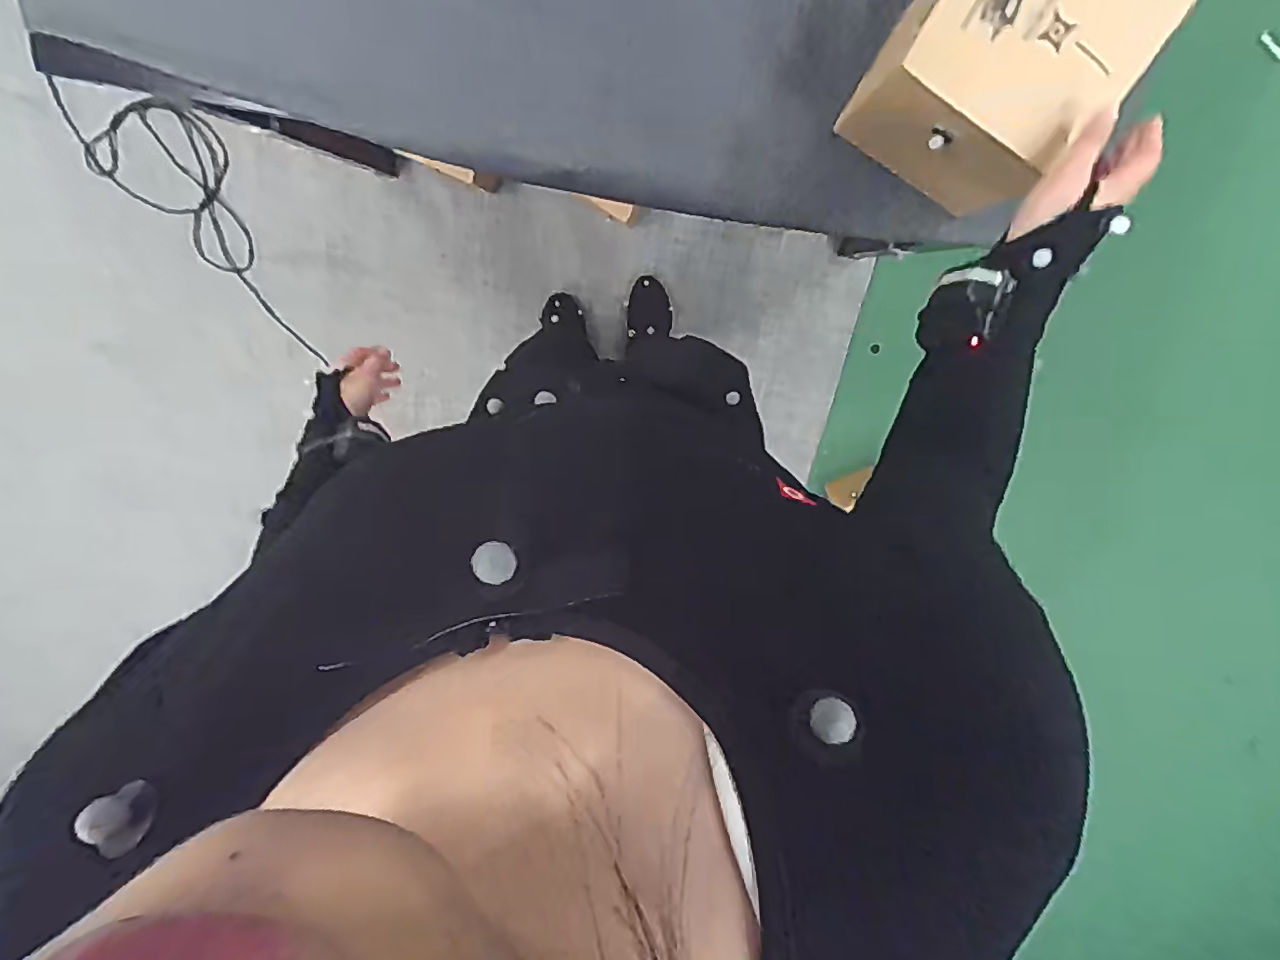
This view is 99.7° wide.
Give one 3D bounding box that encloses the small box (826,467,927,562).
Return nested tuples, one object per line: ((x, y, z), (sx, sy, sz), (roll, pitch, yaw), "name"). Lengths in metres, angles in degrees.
((0.629, 0.086, 1.451), (0.179, 0.176, 0.168), (-24, 108, 11), "small box")

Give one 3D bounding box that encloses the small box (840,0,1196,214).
((0.320, -0.376, 0.504), (0.179, 0.176, 0.168), (30, 106, -8), "small box")

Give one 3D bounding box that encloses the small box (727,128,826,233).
((0.288, -0.647, 1.186), (0.168, 0.176, 0.179), (5, 110, 0), "small box")

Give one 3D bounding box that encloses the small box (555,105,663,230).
((-0.061, -0.672, 1.190), (0.179, 0.176, 0.168), (29, 108, -7), "small box")

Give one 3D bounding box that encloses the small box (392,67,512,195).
((-0.401, -0.743, 1.175), (0.179, 0.176, 0.168), (21, 110, -5), "small box")
